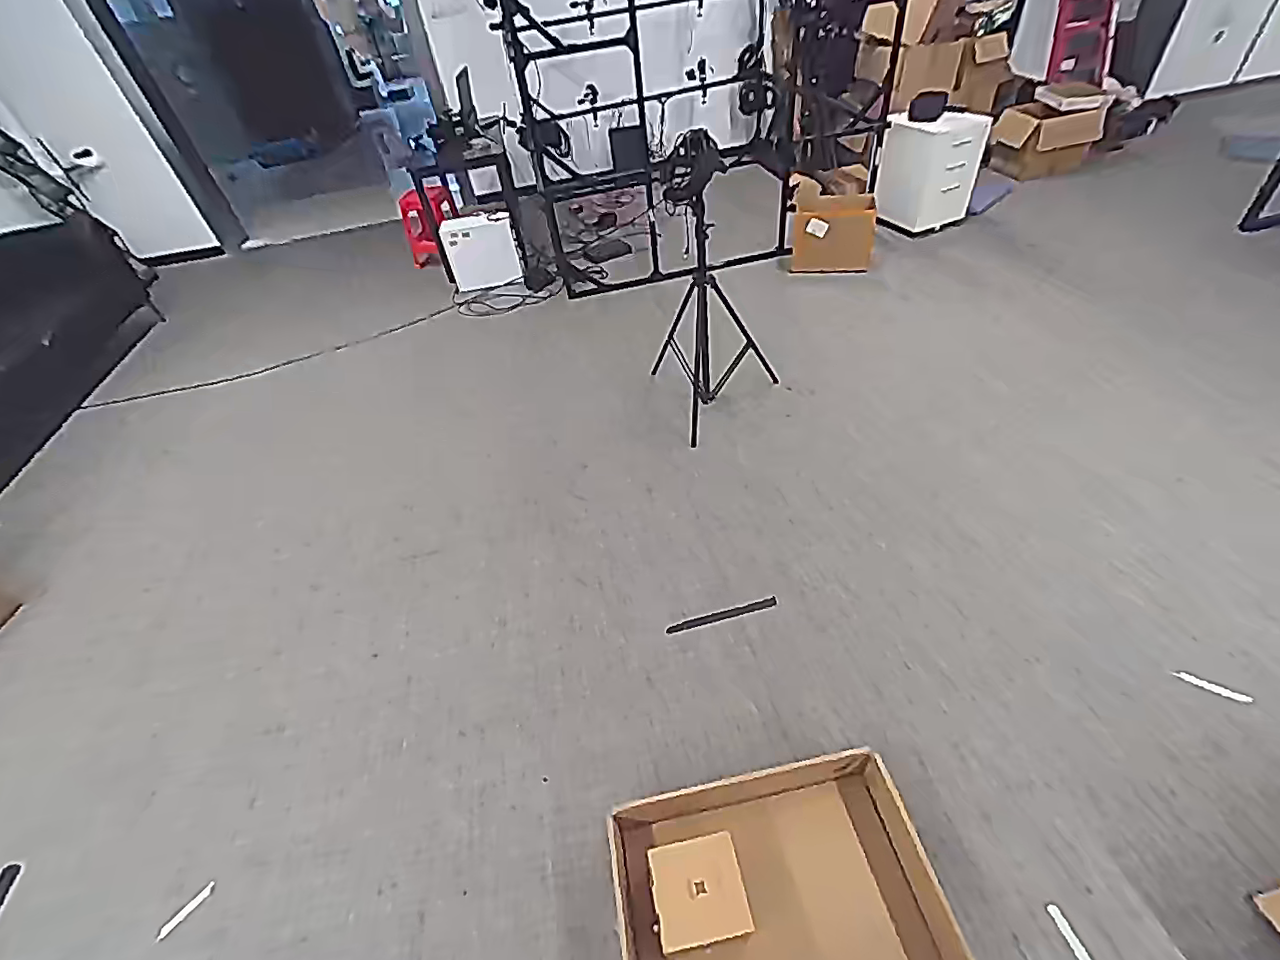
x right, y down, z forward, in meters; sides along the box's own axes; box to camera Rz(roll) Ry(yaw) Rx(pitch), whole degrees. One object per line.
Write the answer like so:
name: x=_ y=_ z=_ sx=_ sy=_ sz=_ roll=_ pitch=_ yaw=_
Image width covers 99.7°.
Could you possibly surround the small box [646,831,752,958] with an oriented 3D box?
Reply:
small box: x=0.117 y=0.848 z=1.103 sx=0.179 sy=0.176 sz=0.168 roll=-11 pitch=46 yaw=-4
